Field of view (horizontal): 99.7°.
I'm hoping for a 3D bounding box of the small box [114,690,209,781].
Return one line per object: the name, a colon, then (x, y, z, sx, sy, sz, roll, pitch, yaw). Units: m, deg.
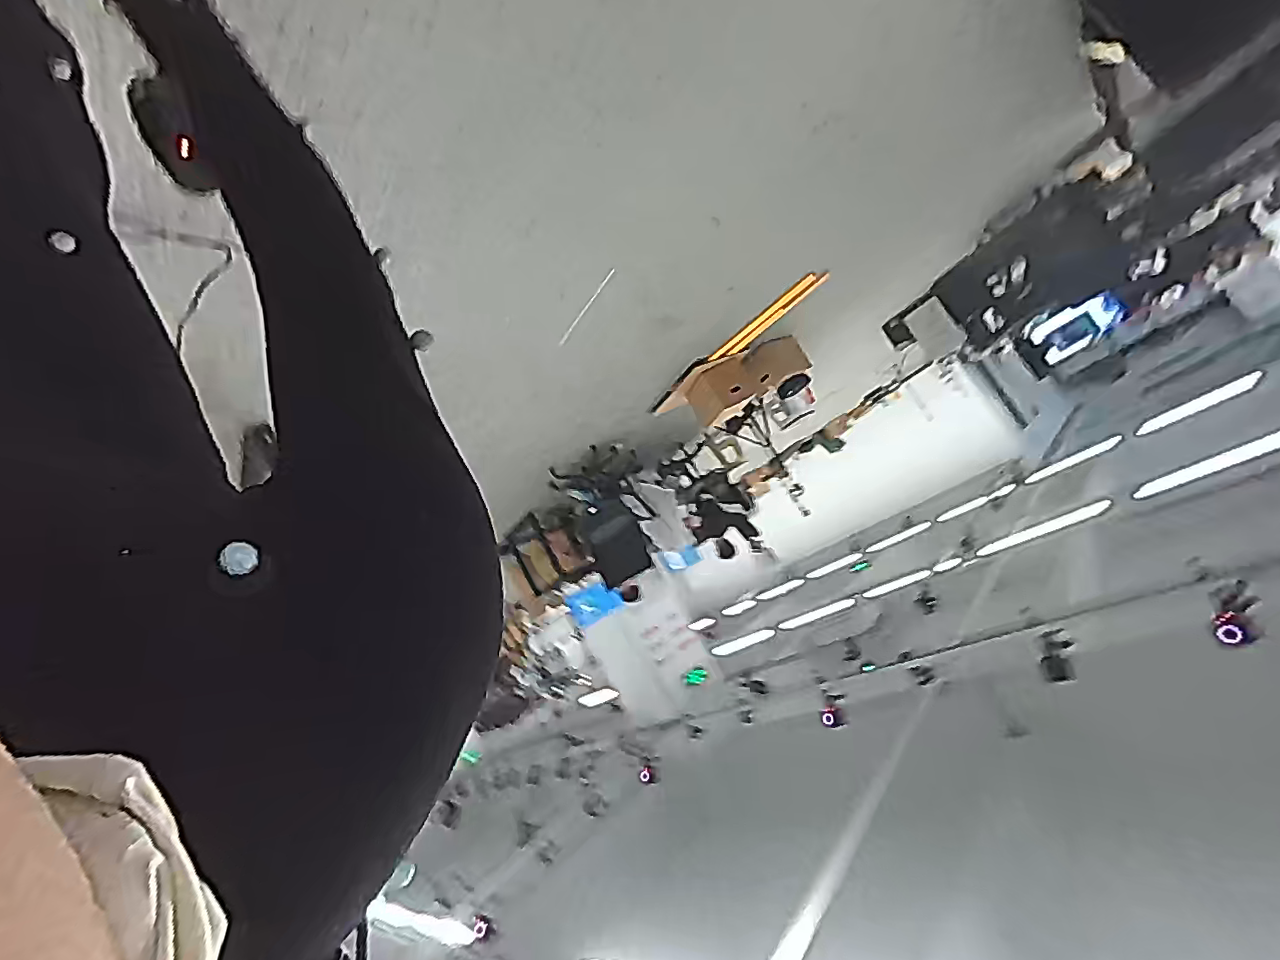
small box: (-1.359, 0.724, 1.541, 0.168, 0.176, 0.179, -21, 165, -44)
